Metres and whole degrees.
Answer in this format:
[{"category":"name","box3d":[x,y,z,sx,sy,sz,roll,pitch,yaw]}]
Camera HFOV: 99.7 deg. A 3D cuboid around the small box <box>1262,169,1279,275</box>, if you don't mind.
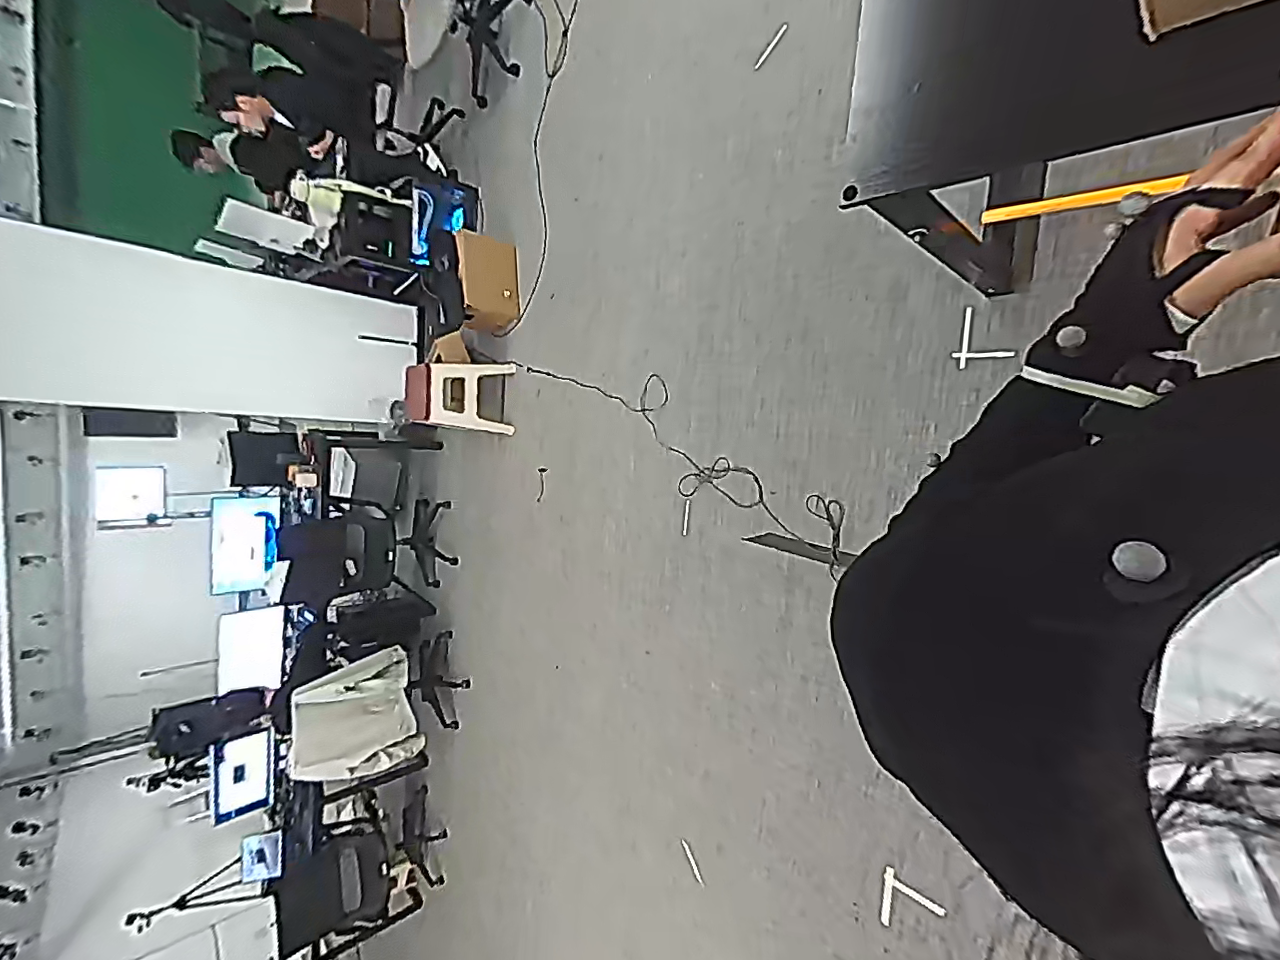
[{"category":"small box","box3d":[0.462,-0.216,0.273,0.168,0.176,0.179,14,99,44]}]
